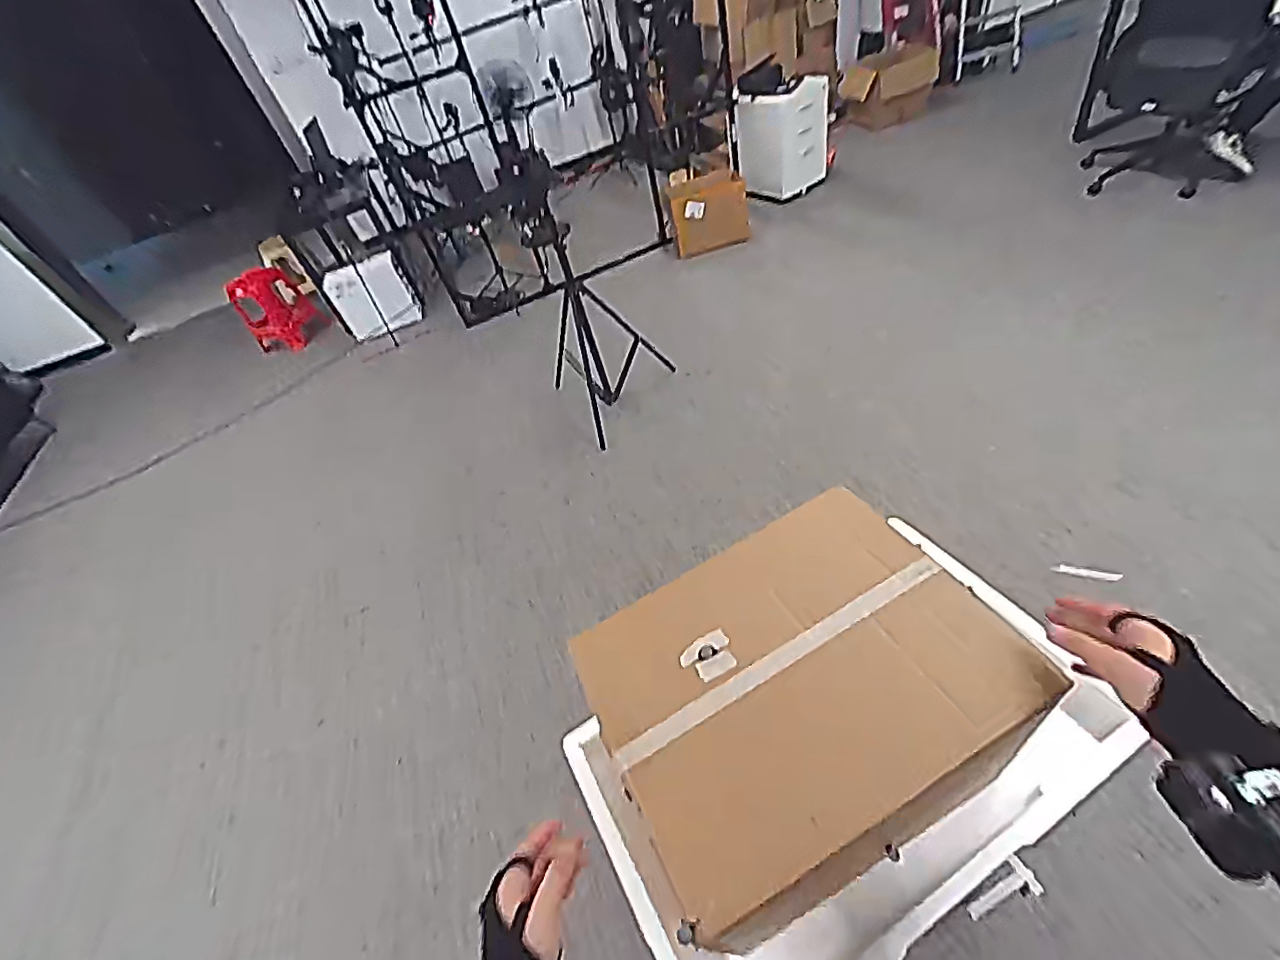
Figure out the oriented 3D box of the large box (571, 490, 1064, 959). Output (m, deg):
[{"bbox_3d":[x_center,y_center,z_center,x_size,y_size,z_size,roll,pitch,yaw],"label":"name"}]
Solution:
[{"bbox_3d":[0.191,0.292,0.666,0.408,0.320,0.320,-30,44,-8],"label":"large box"}]
